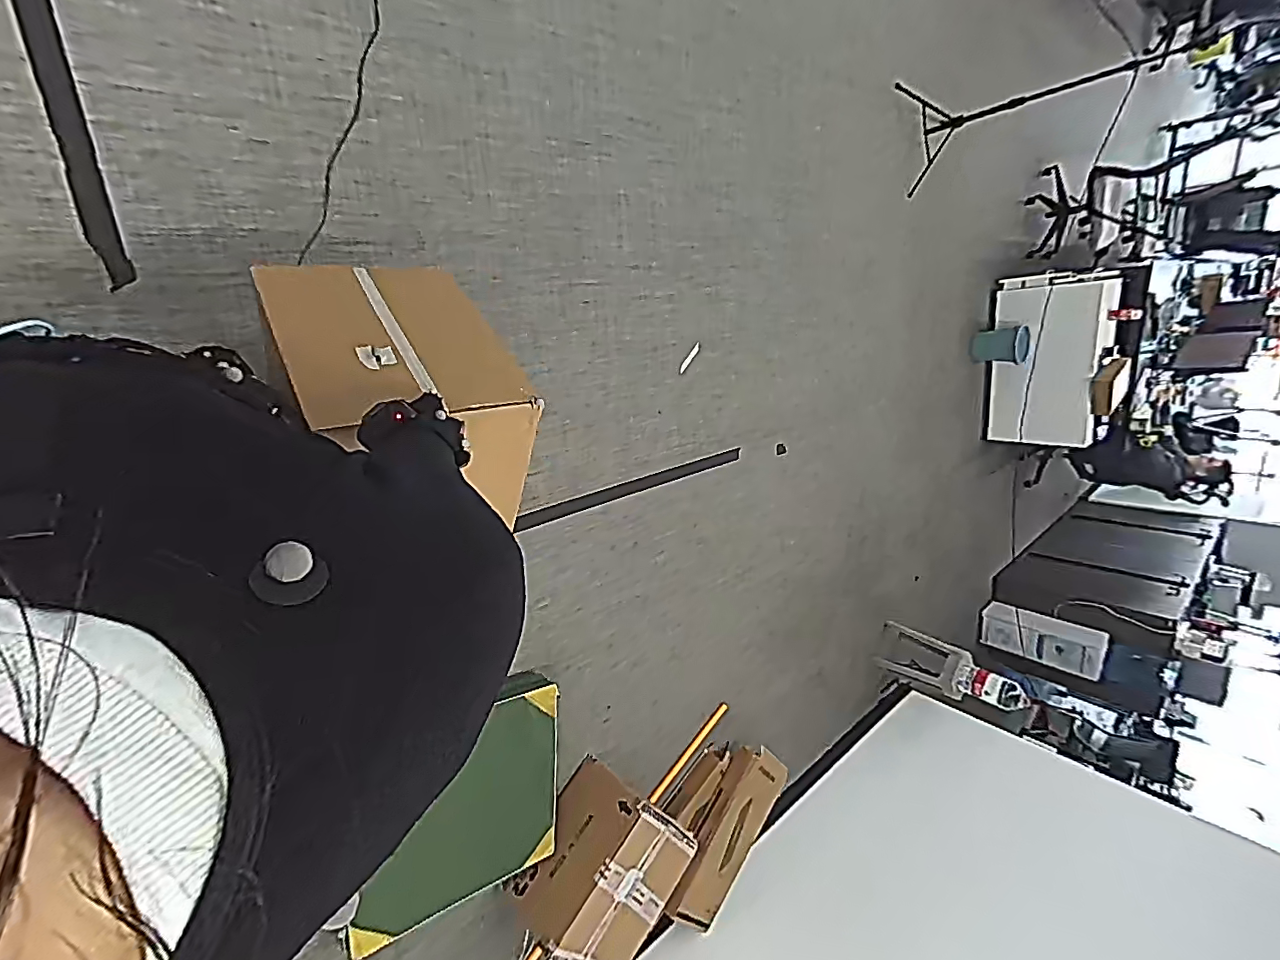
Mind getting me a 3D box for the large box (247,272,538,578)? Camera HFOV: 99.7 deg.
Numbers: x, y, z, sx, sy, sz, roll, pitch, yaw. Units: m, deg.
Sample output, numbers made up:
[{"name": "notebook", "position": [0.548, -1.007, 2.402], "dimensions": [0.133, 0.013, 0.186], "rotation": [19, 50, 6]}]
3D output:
[{"name": "large box", "position": [-0.430, -0.112, 0.932], "dimensions": [0.320, 0.408, 0.320], "rotation": [-15, 145, -36]}]
